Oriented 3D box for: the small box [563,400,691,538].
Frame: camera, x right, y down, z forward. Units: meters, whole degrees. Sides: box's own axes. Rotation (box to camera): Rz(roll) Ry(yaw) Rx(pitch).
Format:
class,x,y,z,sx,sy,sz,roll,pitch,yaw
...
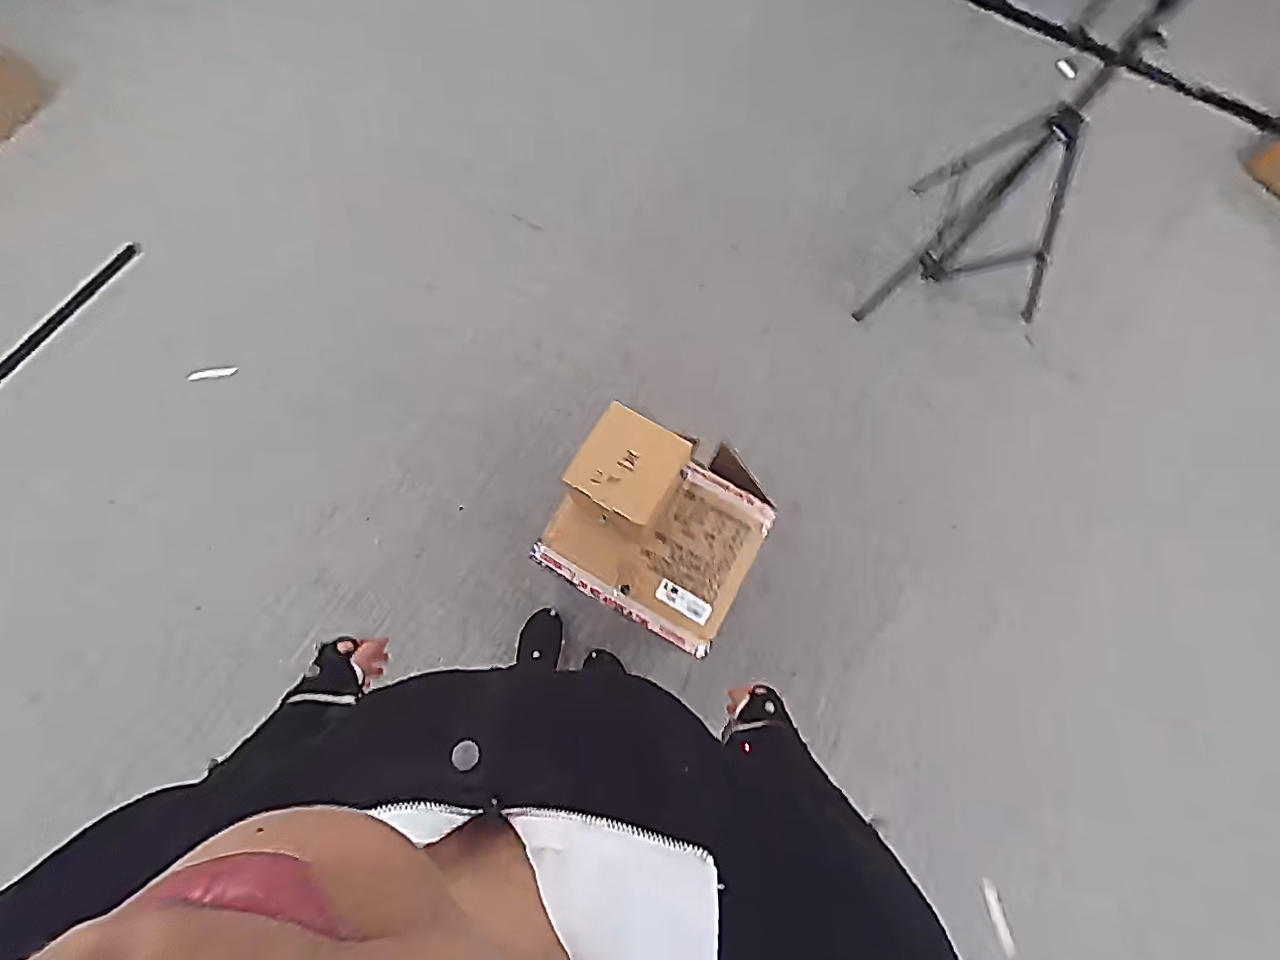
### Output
class,x,y,z,sx,sy,sz,roll,pitch,yaw
small box,-0.024,-0.013,1.013,0.168,0.176,0.179,30,77,8
